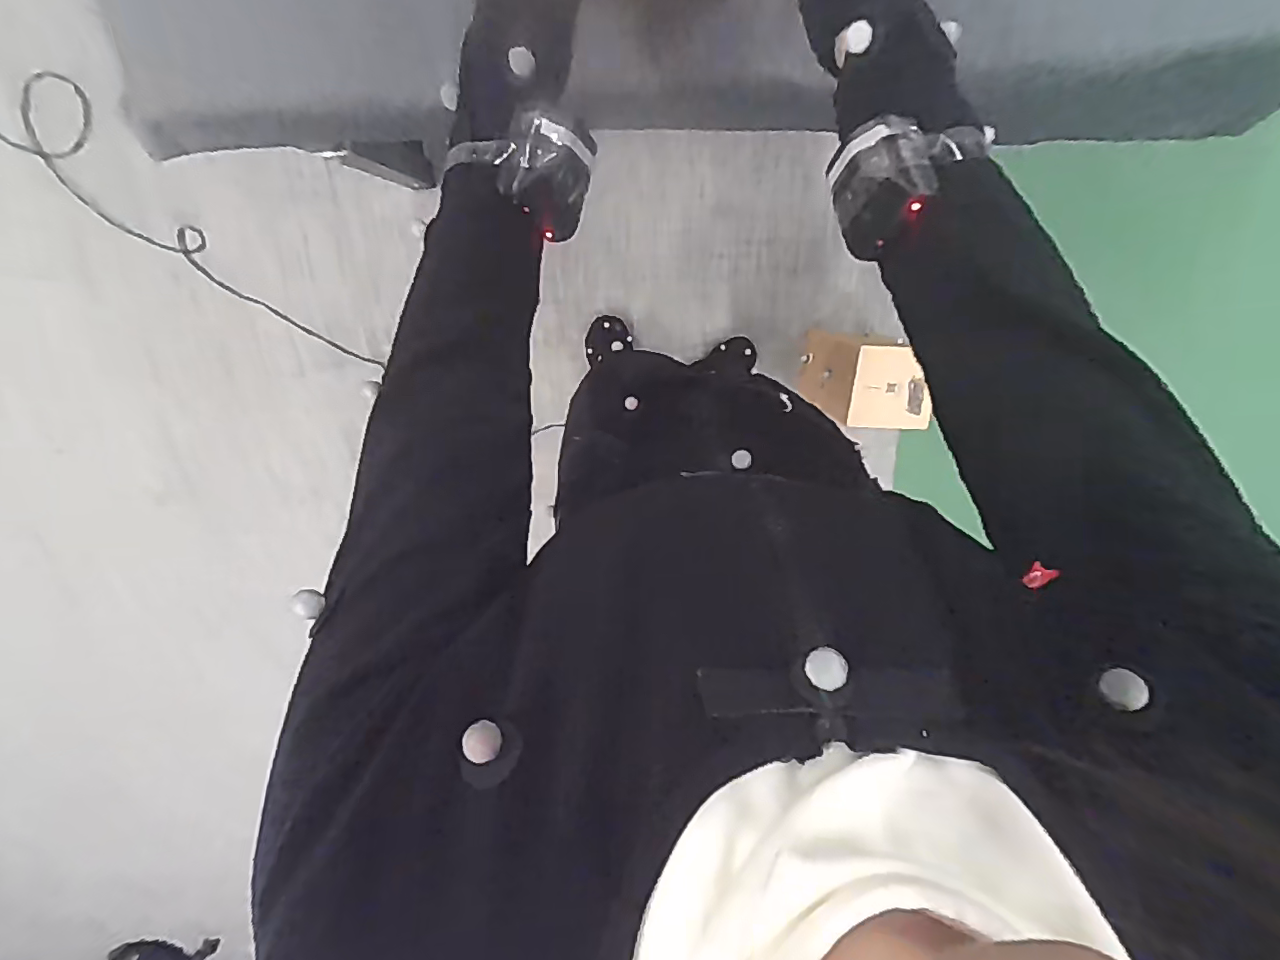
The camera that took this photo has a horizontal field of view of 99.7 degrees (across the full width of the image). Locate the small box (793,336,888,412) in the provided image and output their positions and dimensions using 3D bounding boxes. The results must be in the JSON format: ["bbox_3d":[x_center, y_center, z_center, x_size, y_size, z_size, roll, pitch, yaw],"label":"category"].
[{"bbox_3d":[0.494,-0.256,1.316,0.179,0.176,0.168,3,110,-3],"label":"small box"}]

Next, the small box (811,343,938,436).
[{"bbox_3d":[0.493,-0.199,1.161,0.179,0.176,0.168,2,110,-4],"label":"small box"}]
